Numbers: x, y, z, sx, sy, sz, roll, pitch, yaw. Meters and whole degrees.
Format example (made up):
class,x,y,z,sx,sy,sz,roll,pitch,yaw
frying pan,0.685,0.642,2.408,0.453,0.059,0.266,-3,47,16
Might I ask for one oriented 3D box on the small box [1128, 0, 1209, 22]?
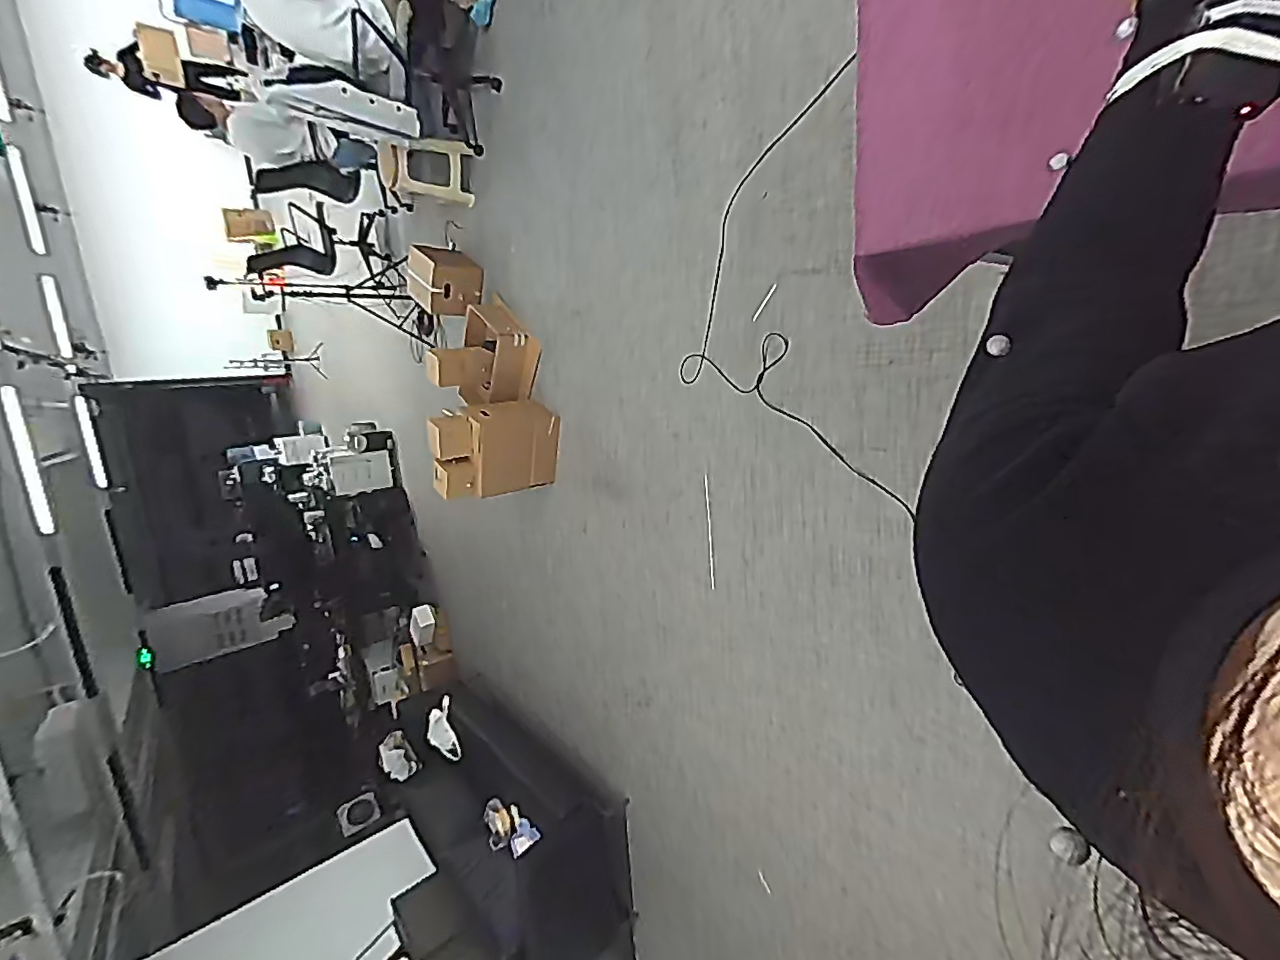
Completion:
class,x,y,z,sx,sy,sz,roll,pitch,yaw
small box,0.504,-0.532,0.438,0.168,0.176,0.179,13,110,49
